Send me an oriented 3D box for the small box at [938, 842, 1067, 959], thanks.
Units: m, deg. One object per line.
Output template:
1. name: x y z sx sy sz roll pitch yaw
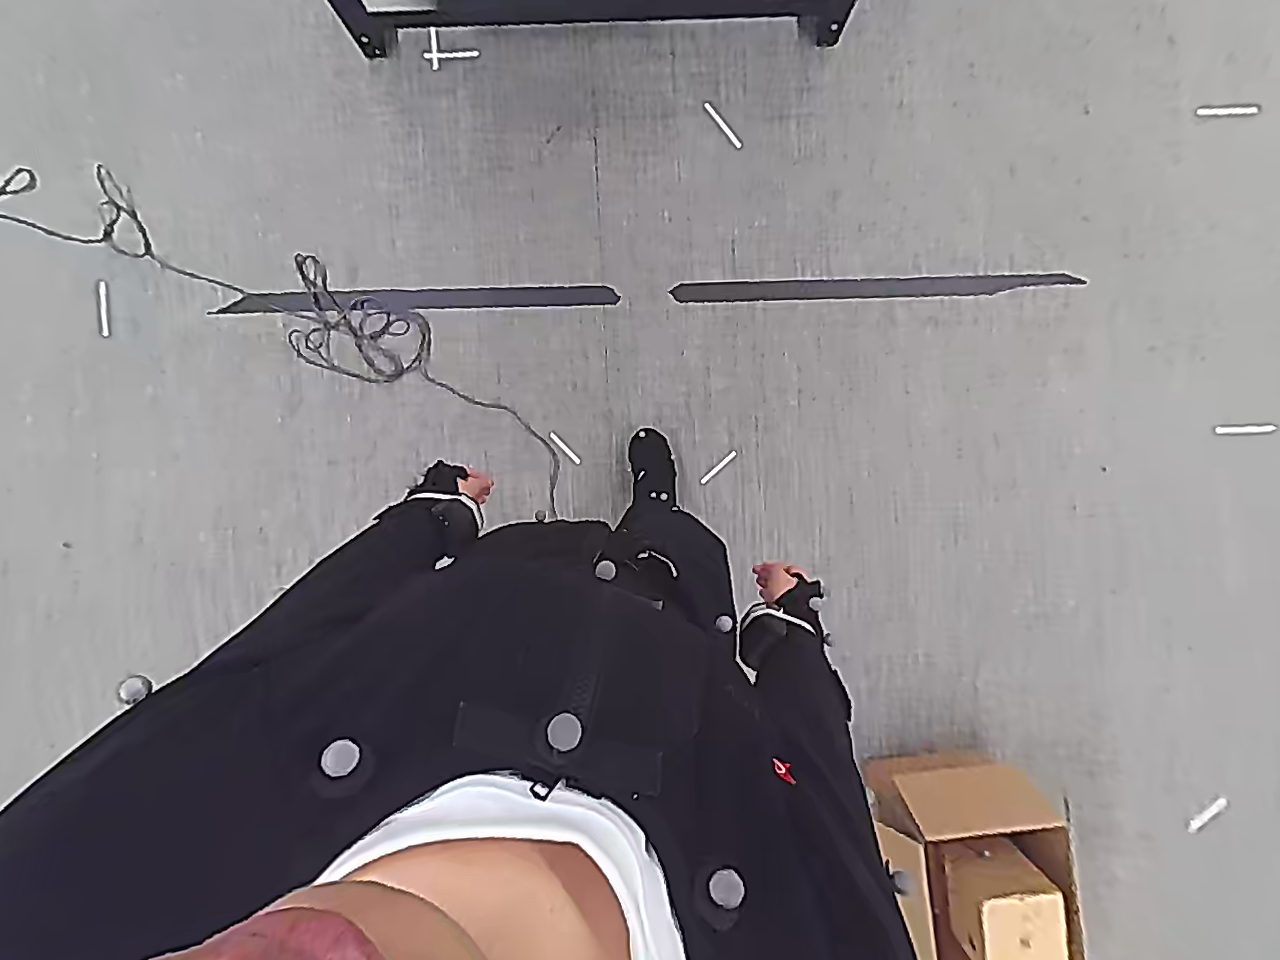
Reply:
1. small box: 0.768 0.922 1.159 0.168 0.176 0.179 -5 91 0
